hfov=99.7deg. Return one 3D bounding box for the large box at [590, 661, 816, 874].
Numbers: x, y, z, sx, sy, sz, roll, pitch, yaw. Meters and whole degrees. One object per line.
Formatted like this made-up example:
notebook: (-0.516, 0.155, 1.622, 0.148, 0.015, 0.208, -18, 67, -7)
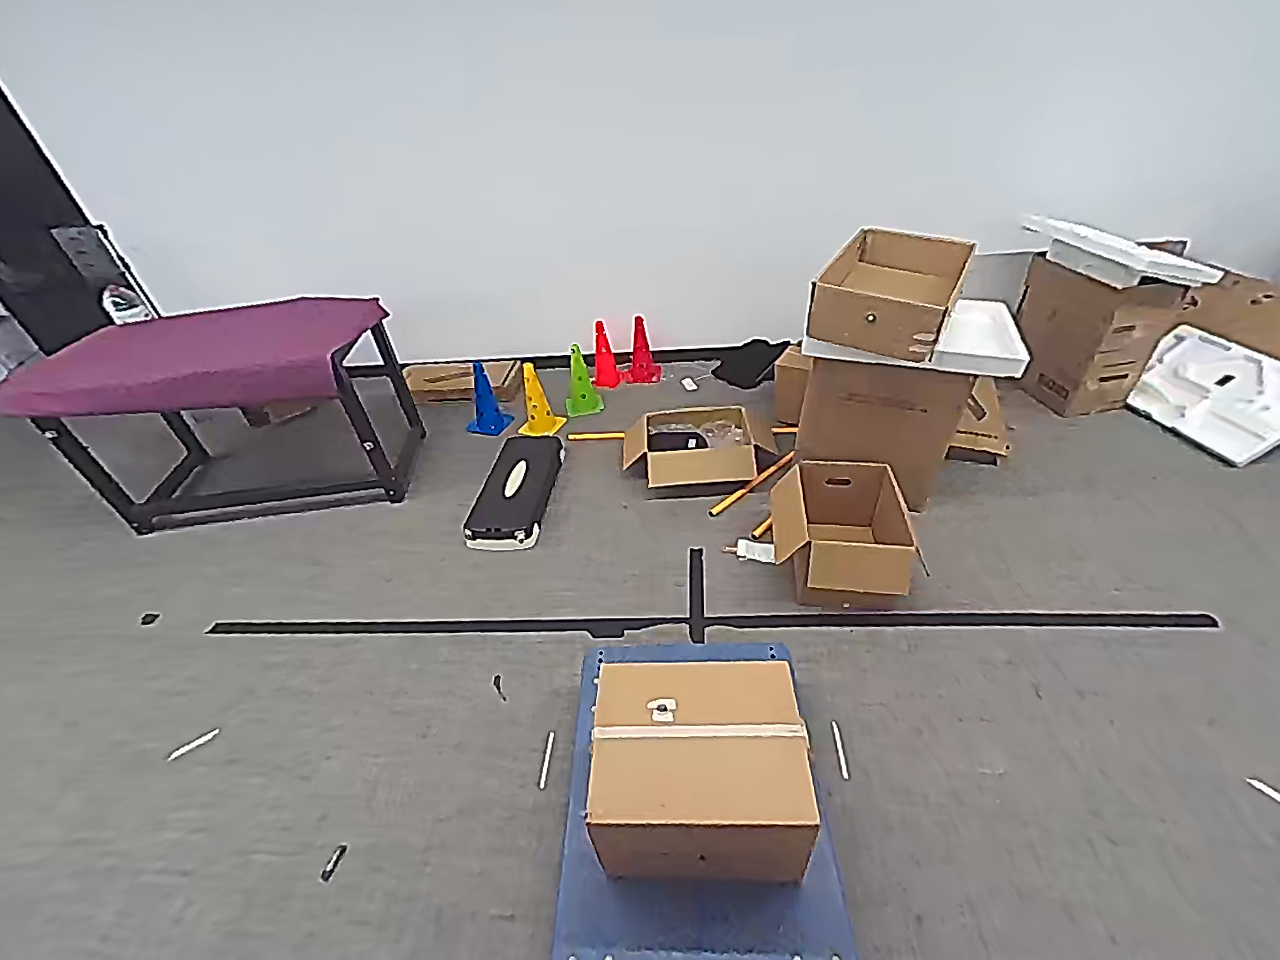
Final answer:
large box: (0.126, 0.615, 1.154, 0.408, 0.320, 0.320, -4, 38, 5)
